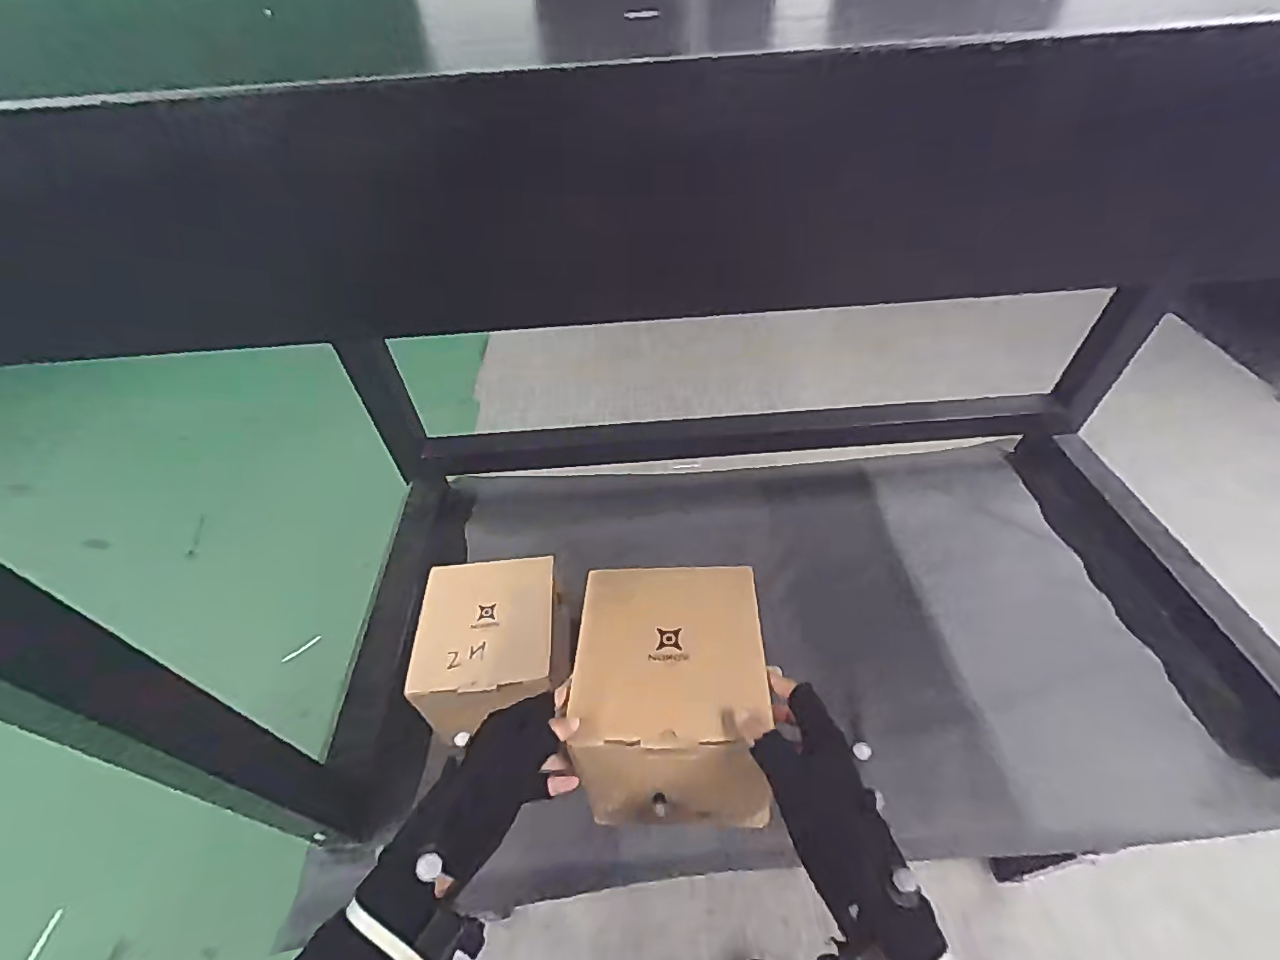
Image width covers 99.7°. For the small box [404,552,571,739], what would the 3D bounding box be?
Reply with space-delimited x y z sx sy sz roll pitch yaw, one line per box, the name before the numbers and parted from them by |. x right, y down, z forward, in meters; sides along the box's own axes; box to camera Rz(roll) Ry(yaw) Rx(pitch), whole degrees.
small box | -0.187 0.220 0.721 0.168 0.176 0.179 -6 46 -1
